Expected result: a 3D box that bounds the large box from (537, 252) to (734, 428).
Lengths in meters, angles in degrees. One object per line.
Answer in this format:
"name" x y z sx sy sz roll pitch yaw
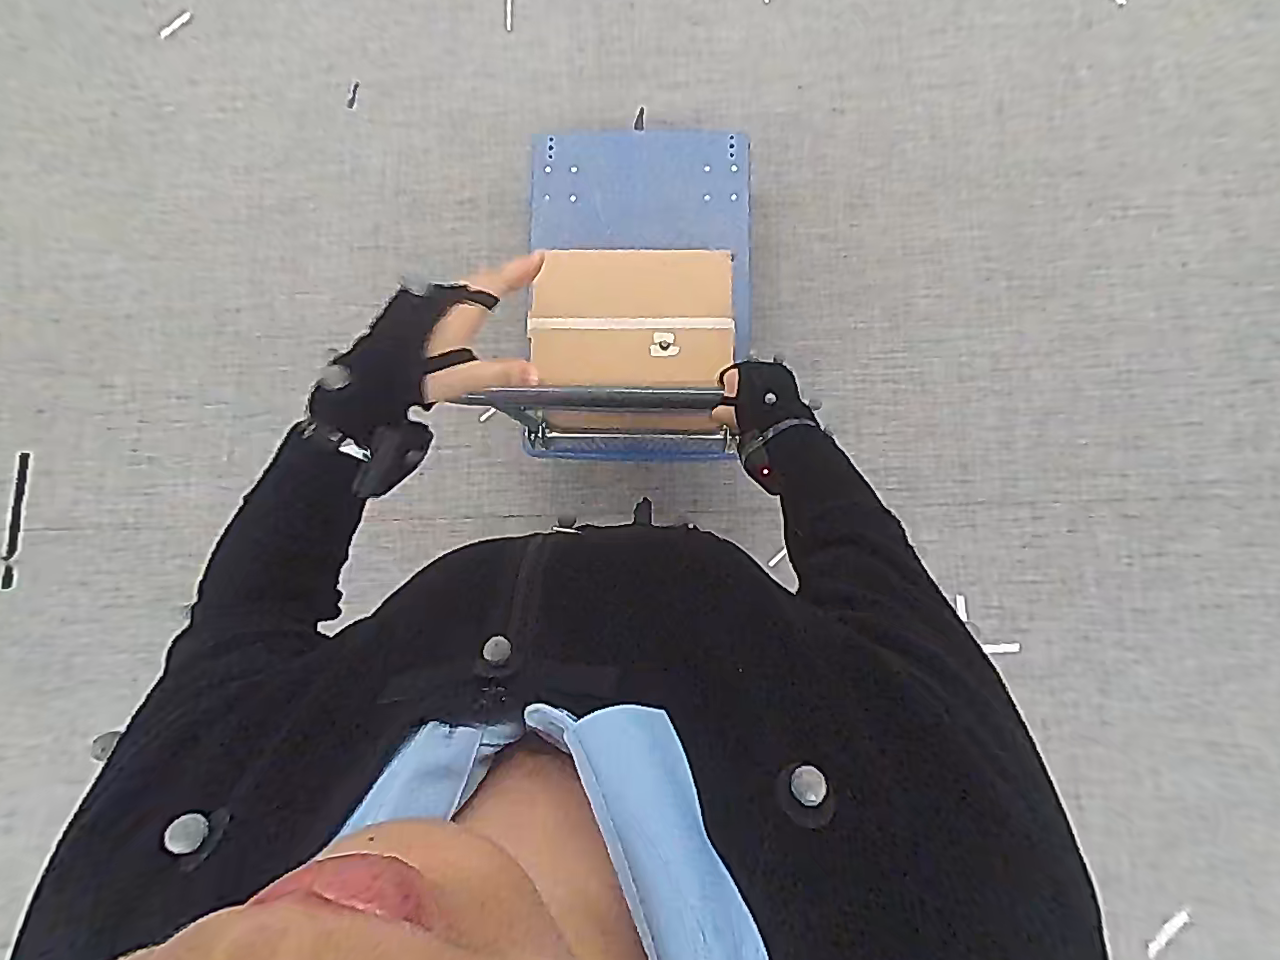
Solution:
"large box" -0.010 -0.301 1.243 0.408 0.320 0.320 1 85 1
